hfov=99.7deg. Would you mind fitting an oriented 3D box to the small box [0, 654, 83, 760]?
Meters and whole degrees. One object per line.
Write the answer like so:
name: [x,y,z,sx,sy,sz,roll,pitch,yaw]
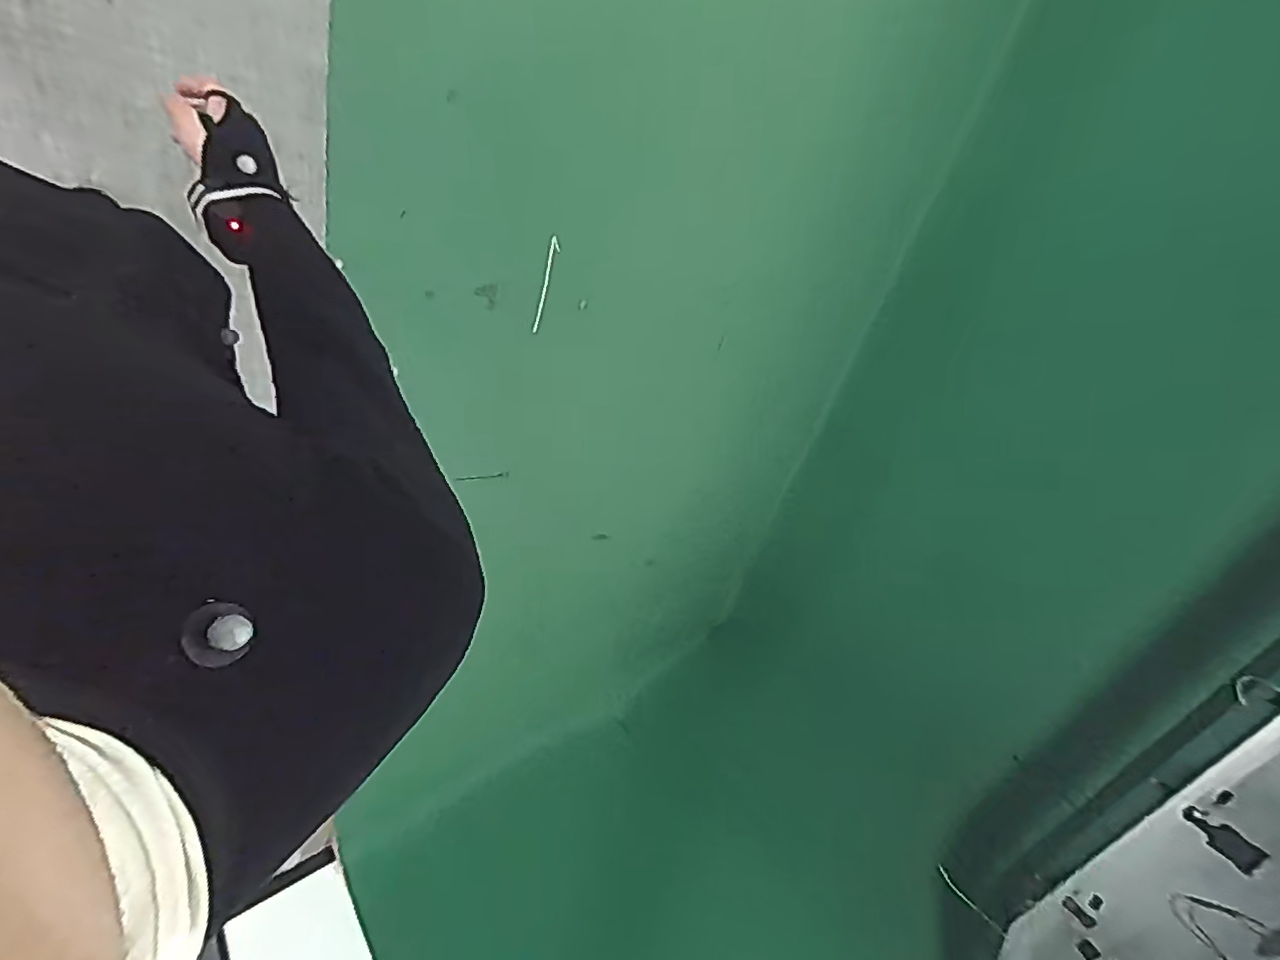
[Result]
small box: [-1.573,0.579,1.395,0.179,0.176,0.168,-5,124,-46]
